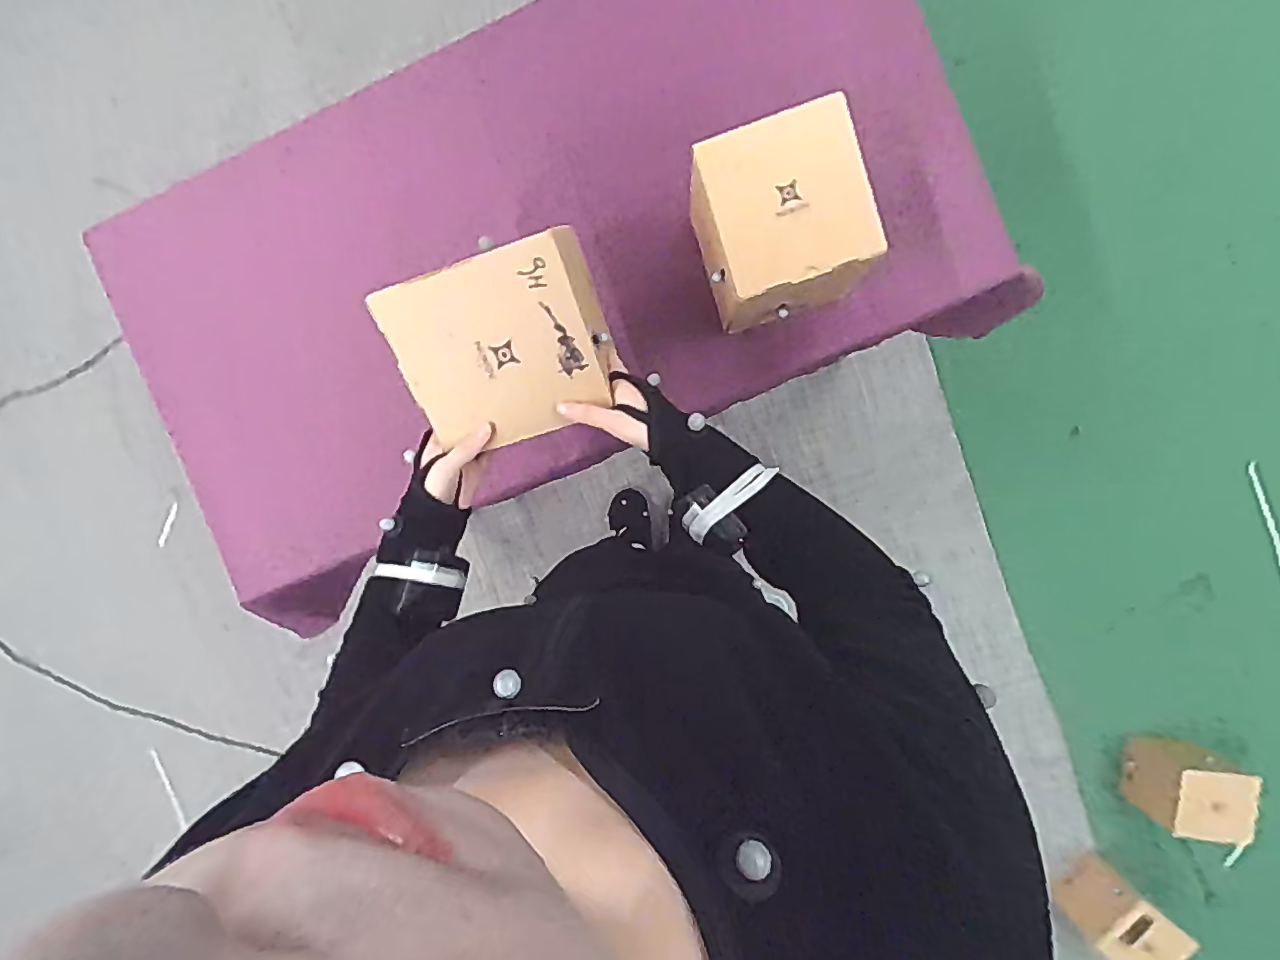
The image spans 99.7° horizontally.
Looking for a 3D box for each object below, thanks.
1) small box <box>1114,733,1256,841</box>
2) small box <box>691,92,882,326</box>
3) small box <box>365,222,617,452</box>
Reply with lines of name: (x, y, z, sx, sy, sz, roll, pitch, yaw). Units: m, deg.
small box: (1.356, 0.760, 1.355, 0.179, 0.176, 0.168, 5, 93, 4)
small box: (0.162, -0.310, 0.658, 0.168, 0.176, 0.179, -17, 92, 5)
small box: (-0.131, -0.152, 0.555, 0.179, 0.176, 0.168, -15, 117, 8)
